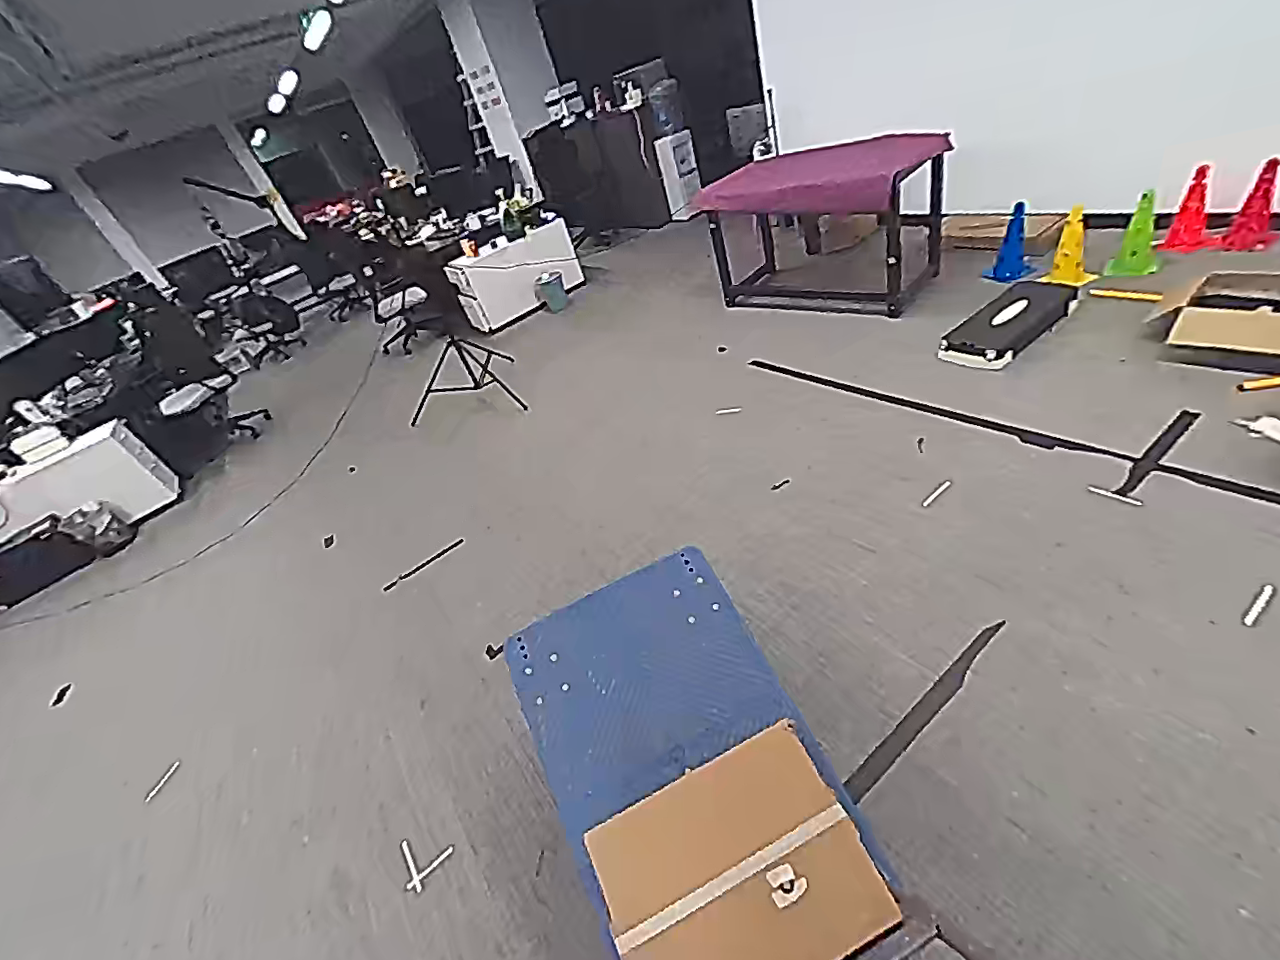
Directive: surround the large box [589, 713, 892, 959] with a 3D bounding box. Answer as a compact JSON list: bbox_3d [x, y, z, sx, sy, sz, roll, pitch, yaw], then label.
[{"bbox_3d":[0.167,0.702,1.009,0.408,0.320,0.320,-27,61,-9],"label":"large box"}]
